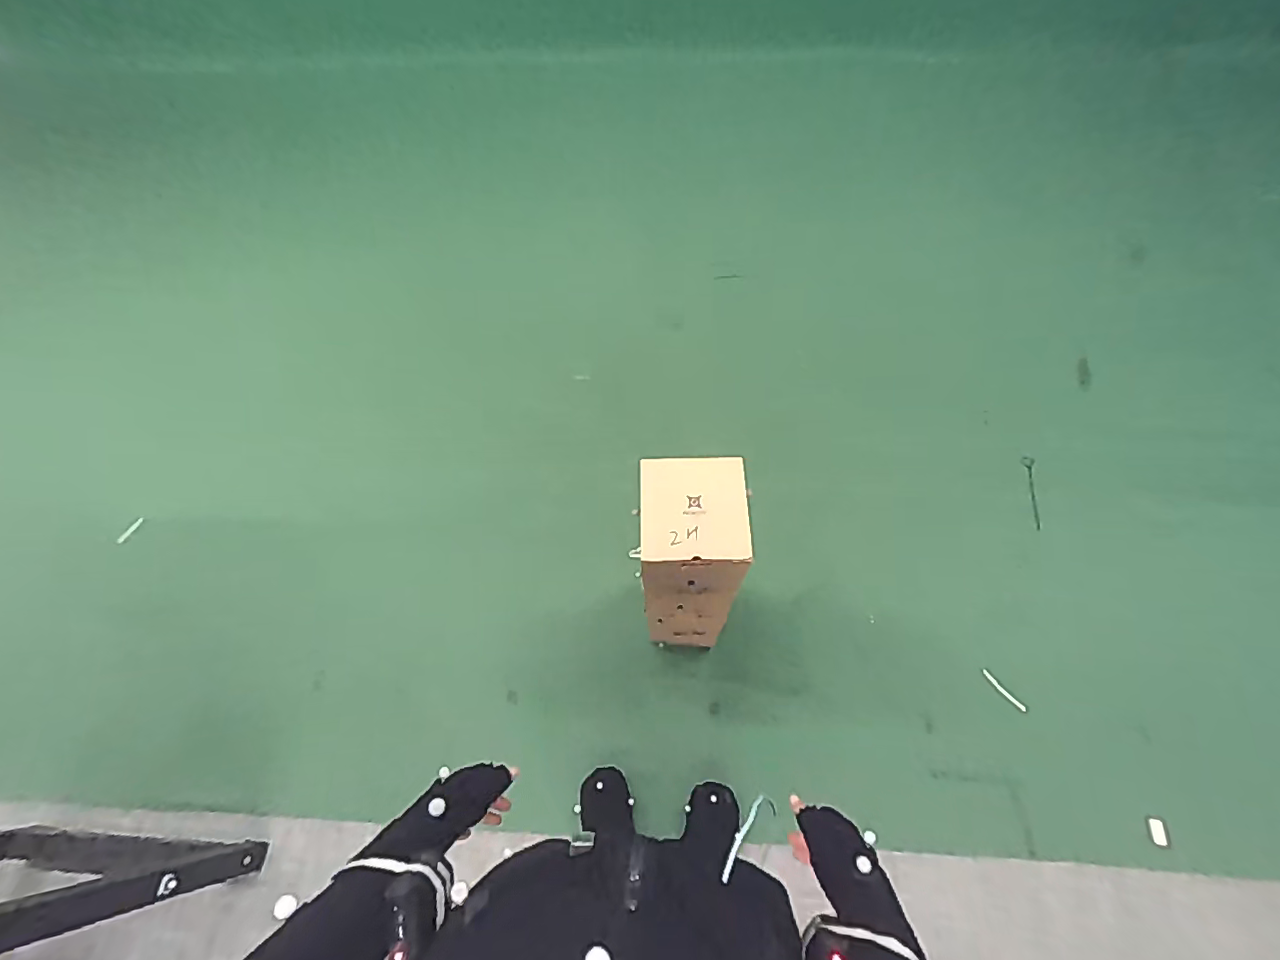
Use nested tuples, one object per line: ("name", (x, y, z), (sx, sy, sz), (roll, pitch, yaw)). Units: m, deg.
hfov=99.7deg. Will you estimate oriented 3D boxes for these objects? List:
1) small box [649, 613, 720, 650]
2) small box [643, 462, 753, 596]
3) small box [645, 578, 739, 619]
("small box", (0.112, 0.317, 1.337), (0.168, 0.176, 0.179), (3, 63, 4))
("small box", (0.088, 0.085, 0.903), (0.168, 0.176, 0.179), (-1, 63, 2))
("small box", (0.094, 0.162, 1.049), (0.168, 0.176, 0.179), (0, 63, 2))
